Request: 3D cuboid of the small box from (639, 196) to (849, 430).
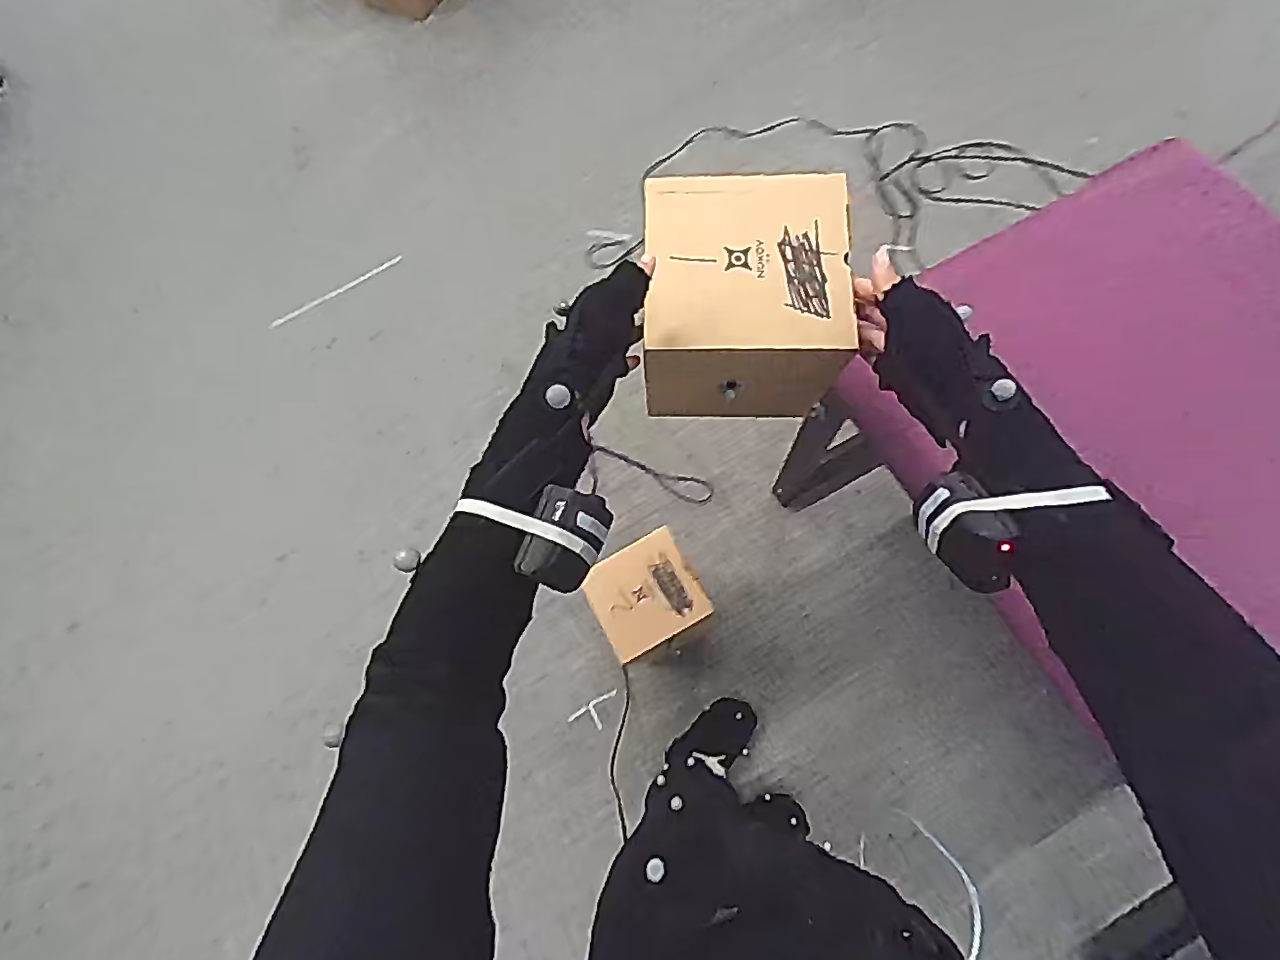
[{"bbox_3d":[0.090,-0.153,0.540,0.179,0.176,0.168,1,77,2],"label":"small box"}]
